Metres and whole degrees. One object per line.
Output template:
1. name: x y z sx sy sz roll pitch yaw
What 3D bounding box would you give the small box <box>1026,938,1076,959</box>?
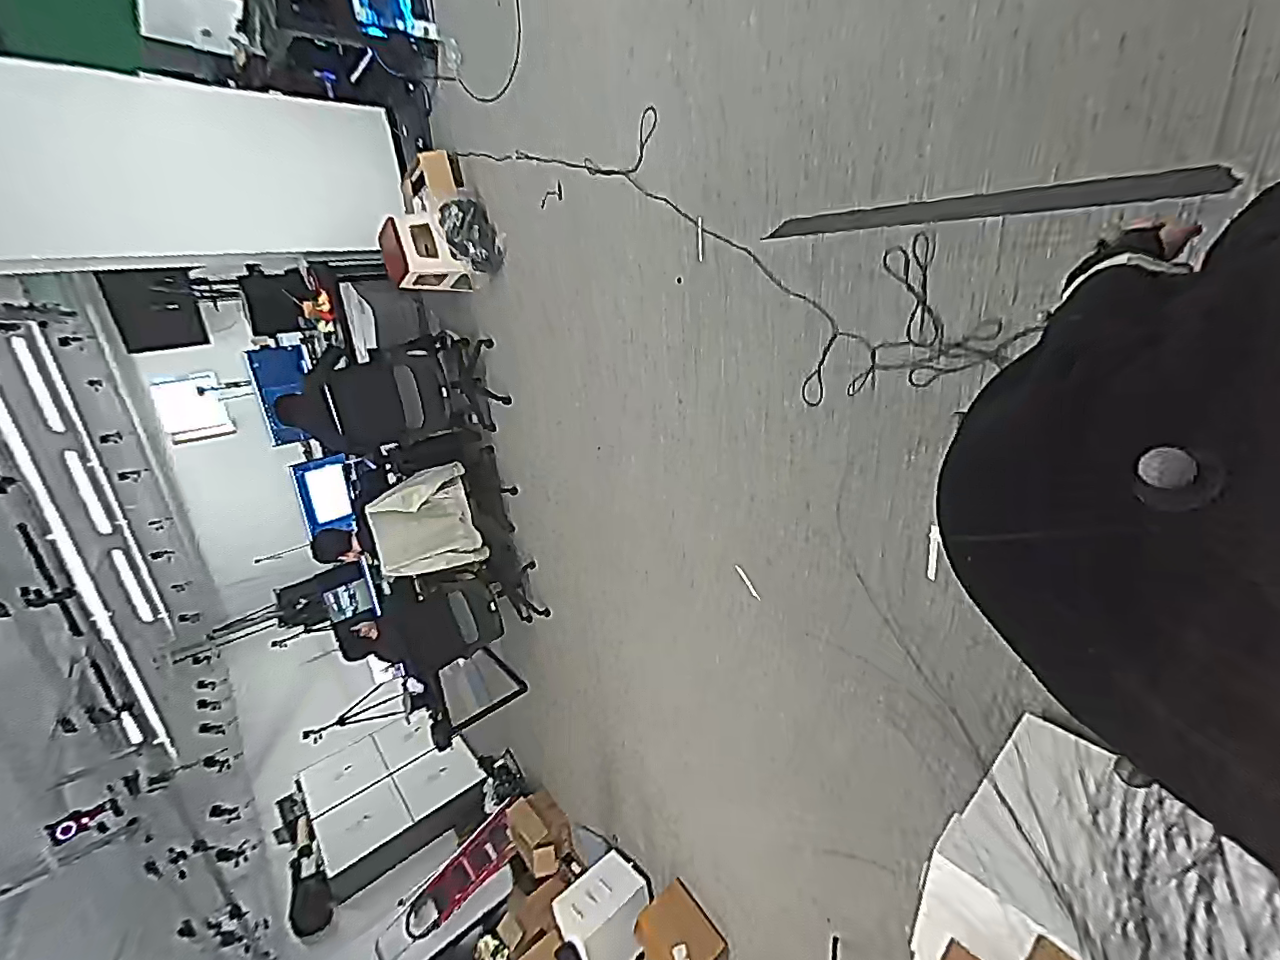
1. small box: 0.746 0.969 0.944 0.168 0.176 0.179 24 126 45

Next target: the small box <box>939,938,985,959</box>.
1. small box: 0.678 1.112 1.105 0.168 0.176 0.179 20 120 45
